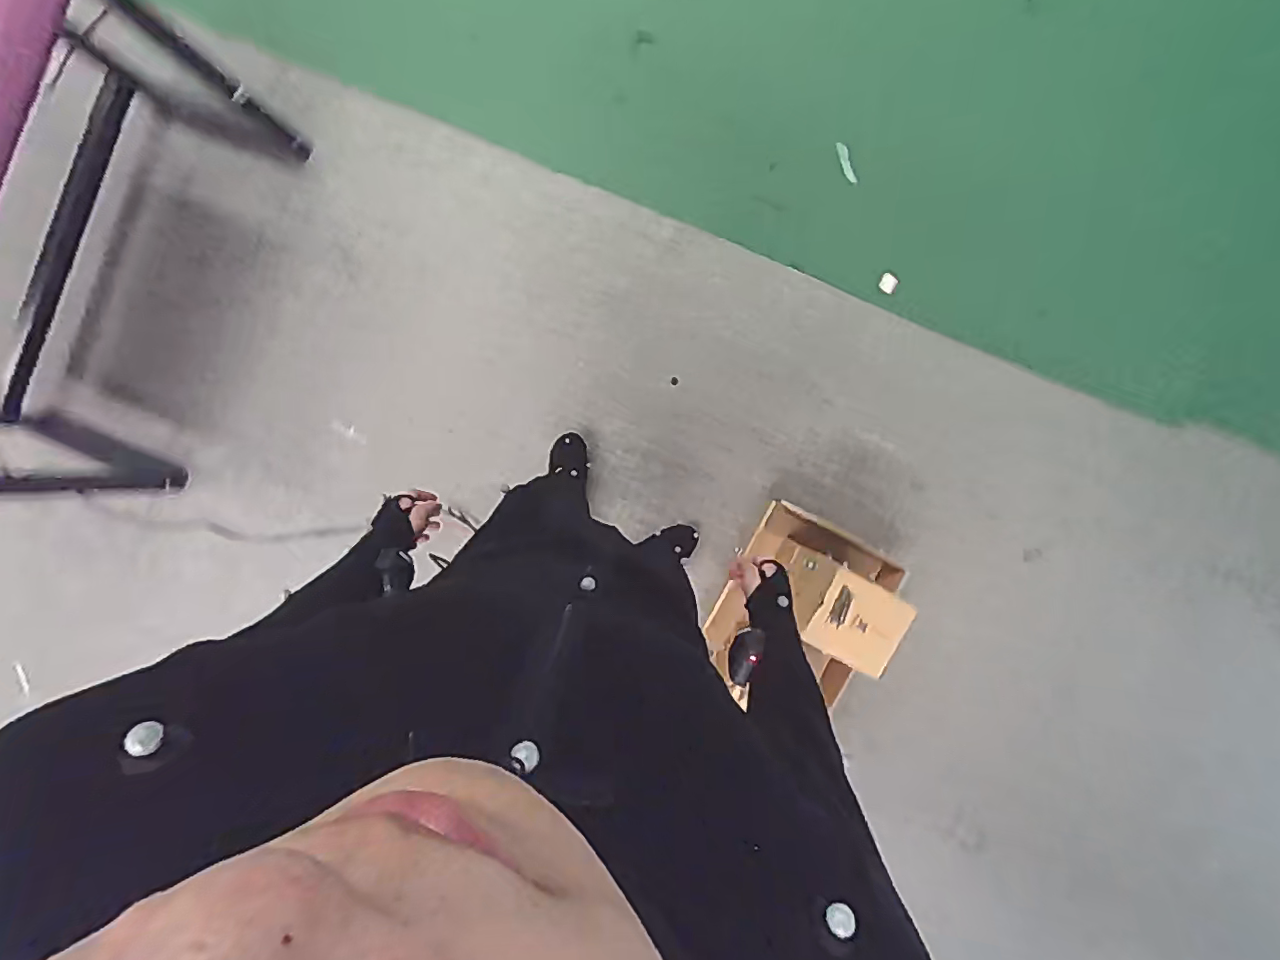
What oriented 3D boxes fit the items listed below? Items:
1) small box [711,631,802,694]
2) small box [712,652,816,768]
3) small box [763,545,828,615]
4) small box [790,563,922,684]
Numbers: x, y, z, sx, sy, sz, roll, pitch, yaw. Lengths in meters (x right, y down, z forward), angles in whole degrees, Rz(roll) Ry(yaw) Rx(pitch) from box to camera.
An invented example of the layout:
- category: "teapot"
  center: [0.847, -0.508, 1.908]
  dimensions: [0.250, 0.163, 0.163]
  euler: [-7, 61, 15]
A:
- category: "small box"
  center: [0.311, 0.540, 1.479]
  dimensions: [0.179, 0.176, 0.168]
  euler: [30, 93, 4]
- category: "small box"
  center: [0.292, 0.548, 1.316]
  dimensions: [0.179, 0.176, 0.168]
  euler: [32, 93, 3]
- category: "small box"
  center: [0.458, 0.290, 1.464]
  dimensions: [0.179, 0.176, 0.168]
  euler: [29, 93, 3]
- category: "small box"
  center: [0.439, 0.288, 1.137]
  dimensions: [0.179, 0.176, 0.168]
  euler: [29, 93, 2]
